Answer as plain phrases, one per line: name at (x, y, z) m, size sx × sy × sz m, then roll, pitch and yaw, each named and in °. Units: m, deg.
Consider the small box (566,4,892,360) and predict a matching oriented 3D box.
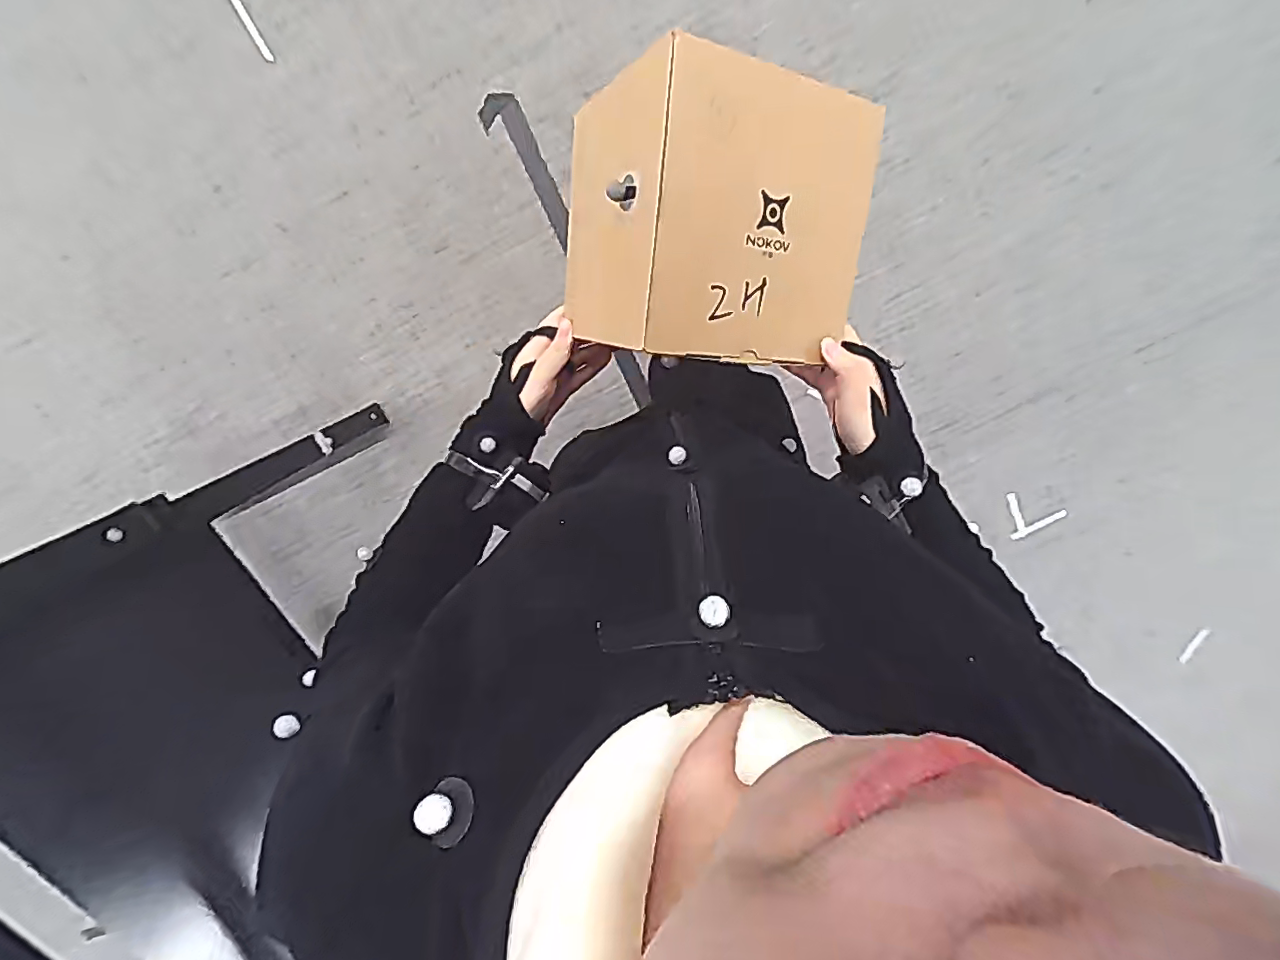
small box at (0.050, -0.193, 0.410) m, size 0.168 × 0.176 × 0.179 m, roll -2°, pitch 108°, yaw -26°
